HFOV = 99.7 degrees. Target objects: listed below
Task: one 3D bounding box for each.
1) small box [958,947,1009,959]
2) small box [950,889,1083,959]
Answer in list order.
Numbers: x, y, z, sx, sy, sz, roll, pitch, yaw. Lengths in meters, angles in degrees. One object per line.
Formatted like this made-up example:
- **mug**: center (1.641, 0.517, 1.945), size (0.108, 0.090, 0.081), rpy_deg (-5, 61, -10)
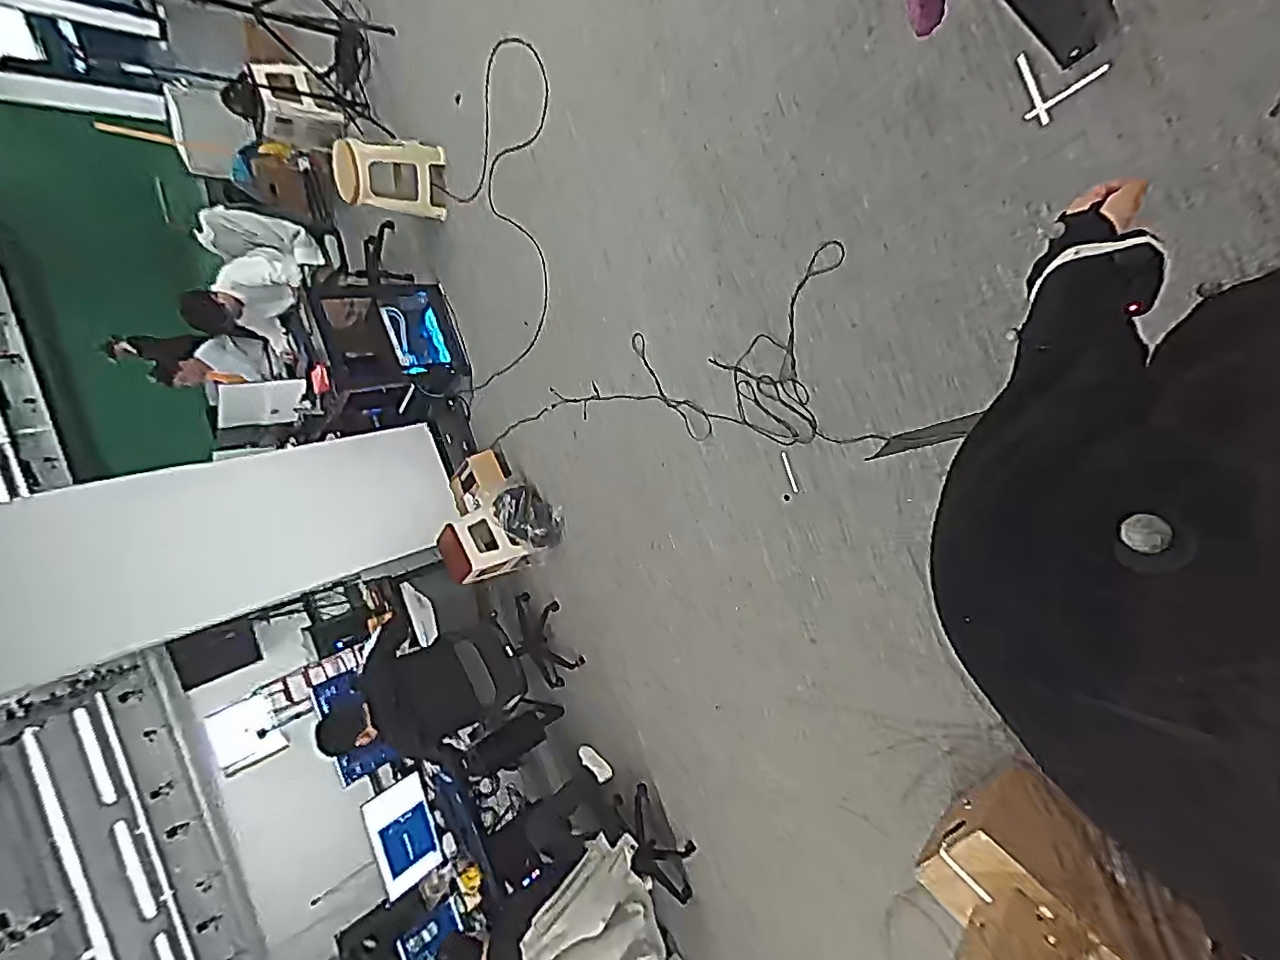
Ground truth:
- **small box**: center (0.729, 1.125, 1.114), size (0.168, 0.176, 0.179), rpy_deg (41, 133, 30)
- **small box**: center (0.849, 1.081, 1.217), size (0.168, 0.176, 0.179), rpy_deg (41, 132, 31)
